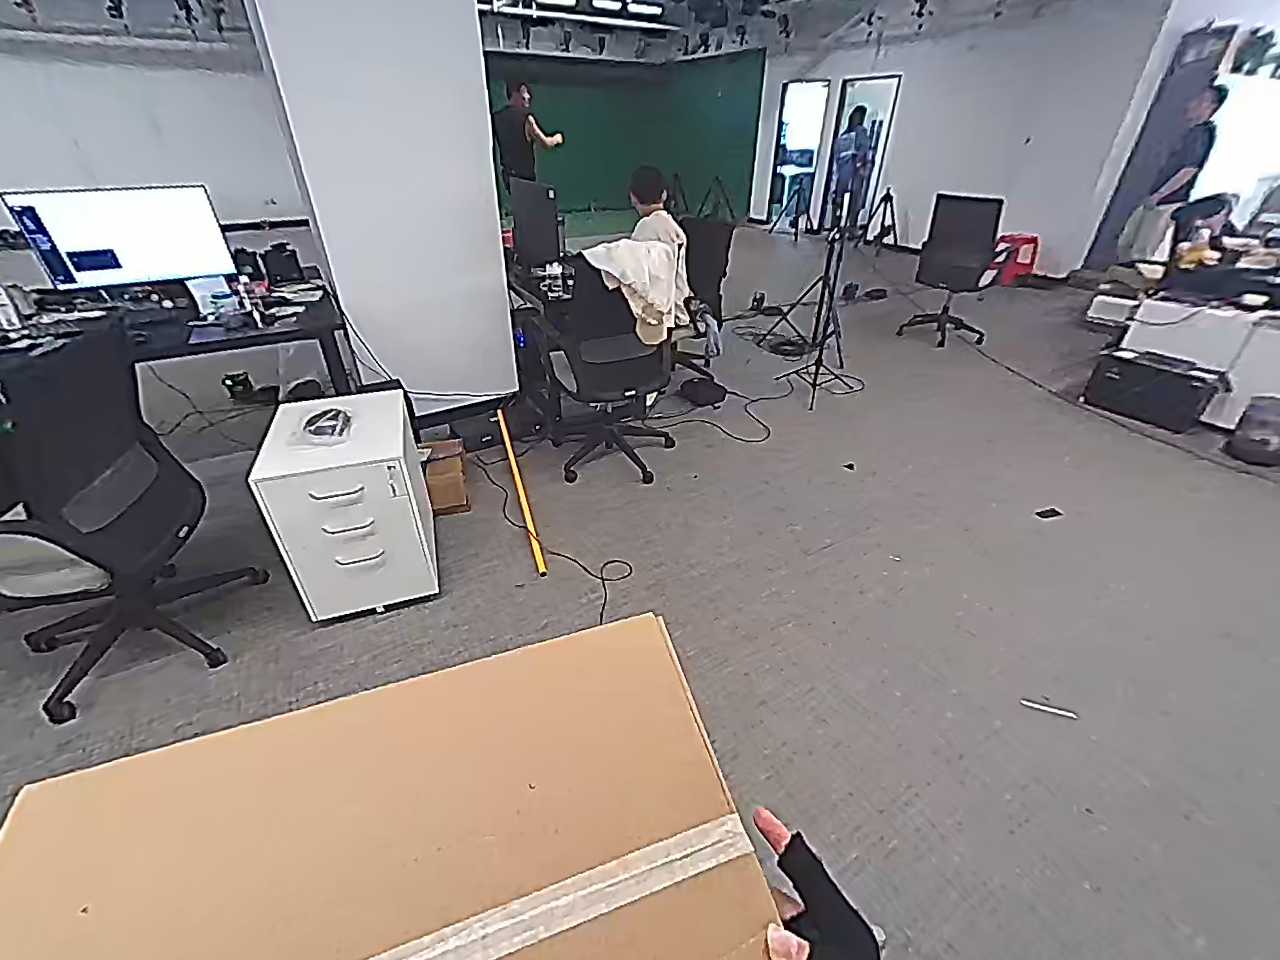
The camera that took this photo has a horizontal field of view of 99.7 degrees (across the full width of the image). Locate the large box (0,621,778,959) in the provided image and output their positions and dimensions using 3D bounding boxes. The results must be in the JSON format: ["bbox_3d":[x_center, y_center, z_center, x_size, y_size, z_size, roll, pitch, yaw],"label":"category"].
[{"bbox_3d":[-0.137,0.360,0.394,0.408,0.320,0.320,-12,48,-14],"label":"large box"}]
